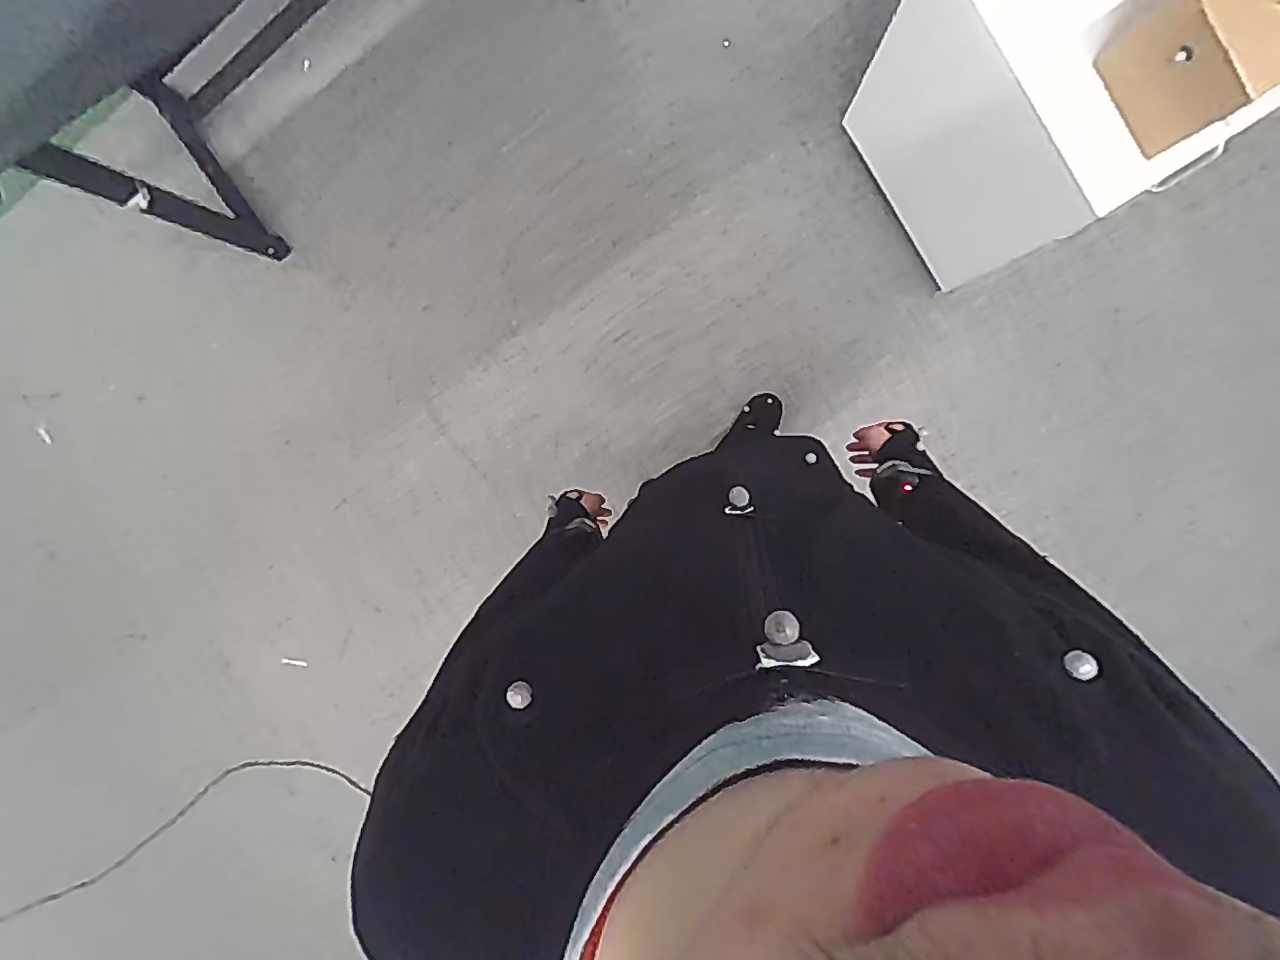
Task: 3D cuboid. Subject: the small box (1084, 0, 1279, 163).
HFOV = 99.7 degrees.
[{"bbox_3d":[0.785,-0.594,0.754,0.168,0.176,0.179,-33,93,7],"label":"small box"}]
